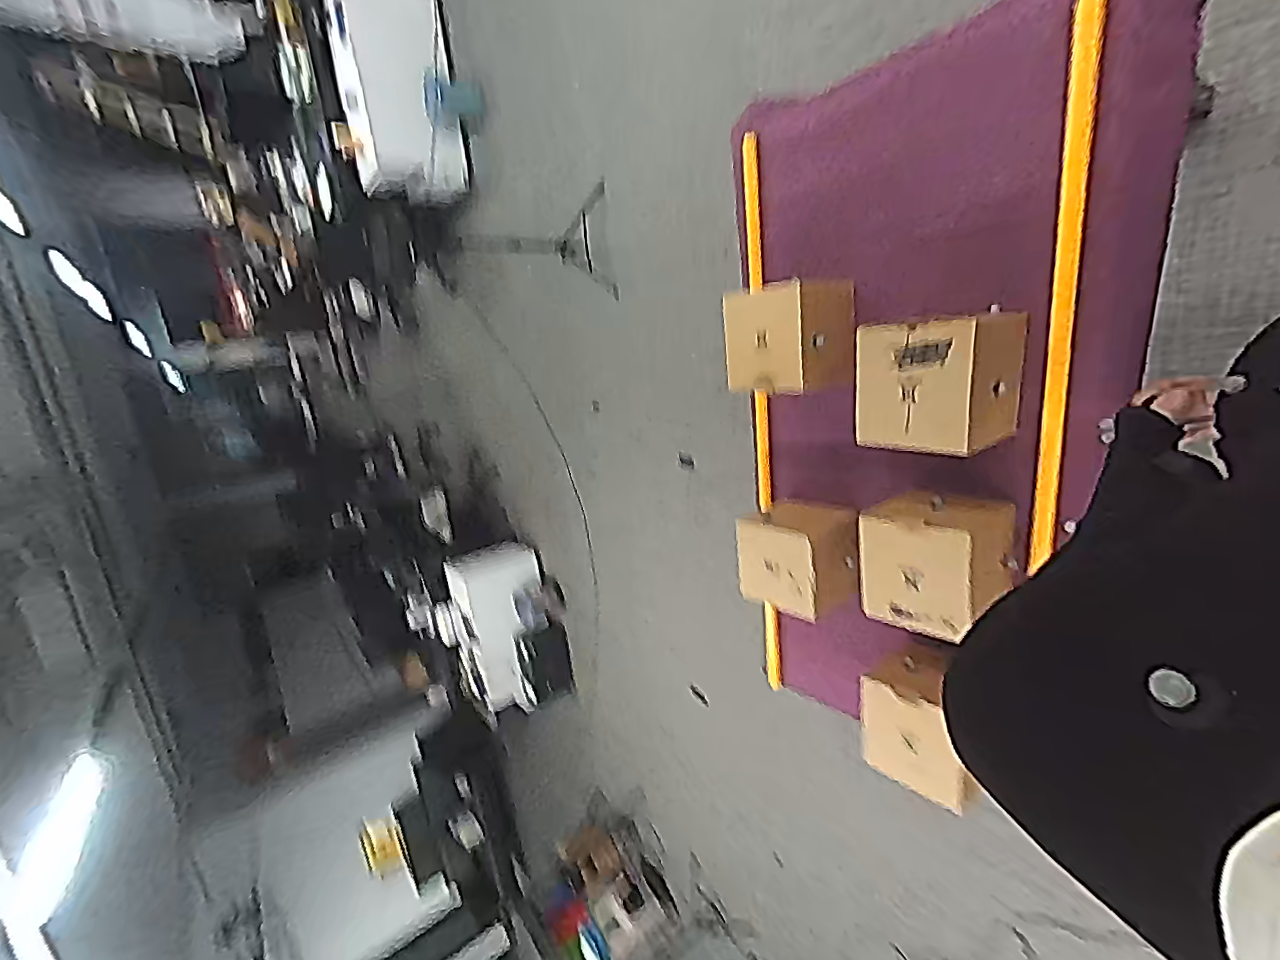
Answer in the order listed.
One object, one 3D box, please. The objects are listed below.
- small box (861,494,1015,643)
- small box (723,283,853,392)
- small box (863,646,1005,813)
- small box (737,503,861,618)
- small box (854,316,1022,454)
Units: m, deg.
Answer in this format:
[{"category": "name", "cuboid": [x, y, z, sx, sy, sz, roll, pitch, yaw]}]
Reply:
[{"category": "small box", "cuboid": [0.477, 0.128, 0.869, 0.168, 0.176, 0.179, 8, 109, 52]}, {"category": "small box", "cuboid": [0.274, -0.259, 0.993, 0.168, 0.176, 0.179, 10, 112, 50]}, {"category": "small box", "cuboid": [0.507, 0.414, 0.936, 0.168, 0.176, 0.179, 10, 108, 52]}, {"category": "small box", "cuboid": [0.320, 0.151, 1.089, 0.179, 0.176, 0.168, 10, 111, 50]}, {"category": "small box", "cuboid": [0.442, -0.148, 0.807, 0.168, 0.176, 0.179, 15, 116, 52]}]
